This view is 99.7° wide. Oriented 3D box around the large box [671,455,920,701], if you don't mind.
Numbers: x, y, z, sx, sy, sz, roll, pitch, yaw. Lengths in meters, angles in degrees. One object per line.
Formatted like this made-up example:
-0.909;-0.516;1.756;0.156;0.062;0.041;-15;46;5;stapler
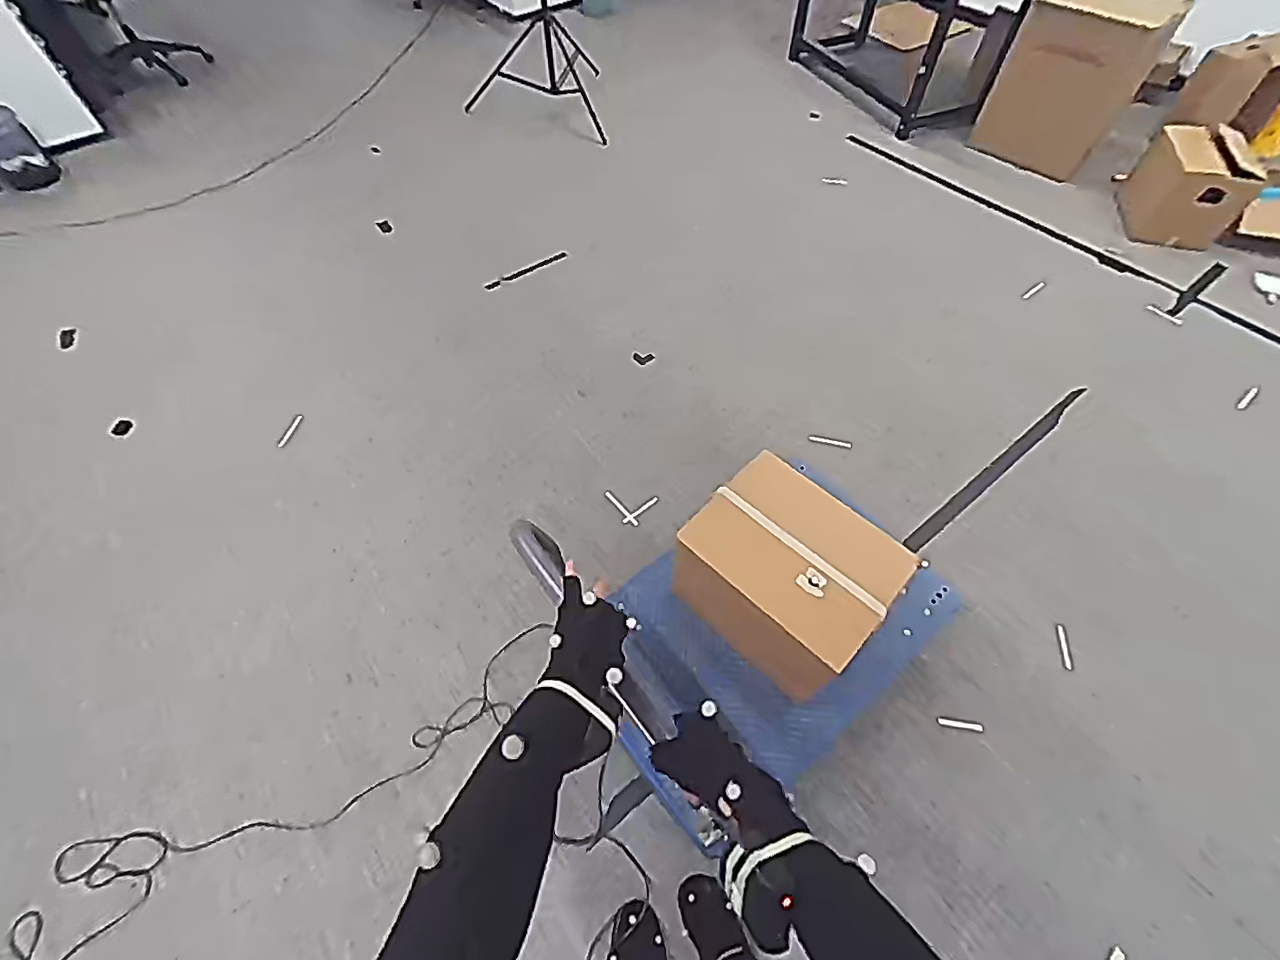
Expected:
0.323;0.223;1.239;0.408;0.320;0.320;39;66;22;large box
